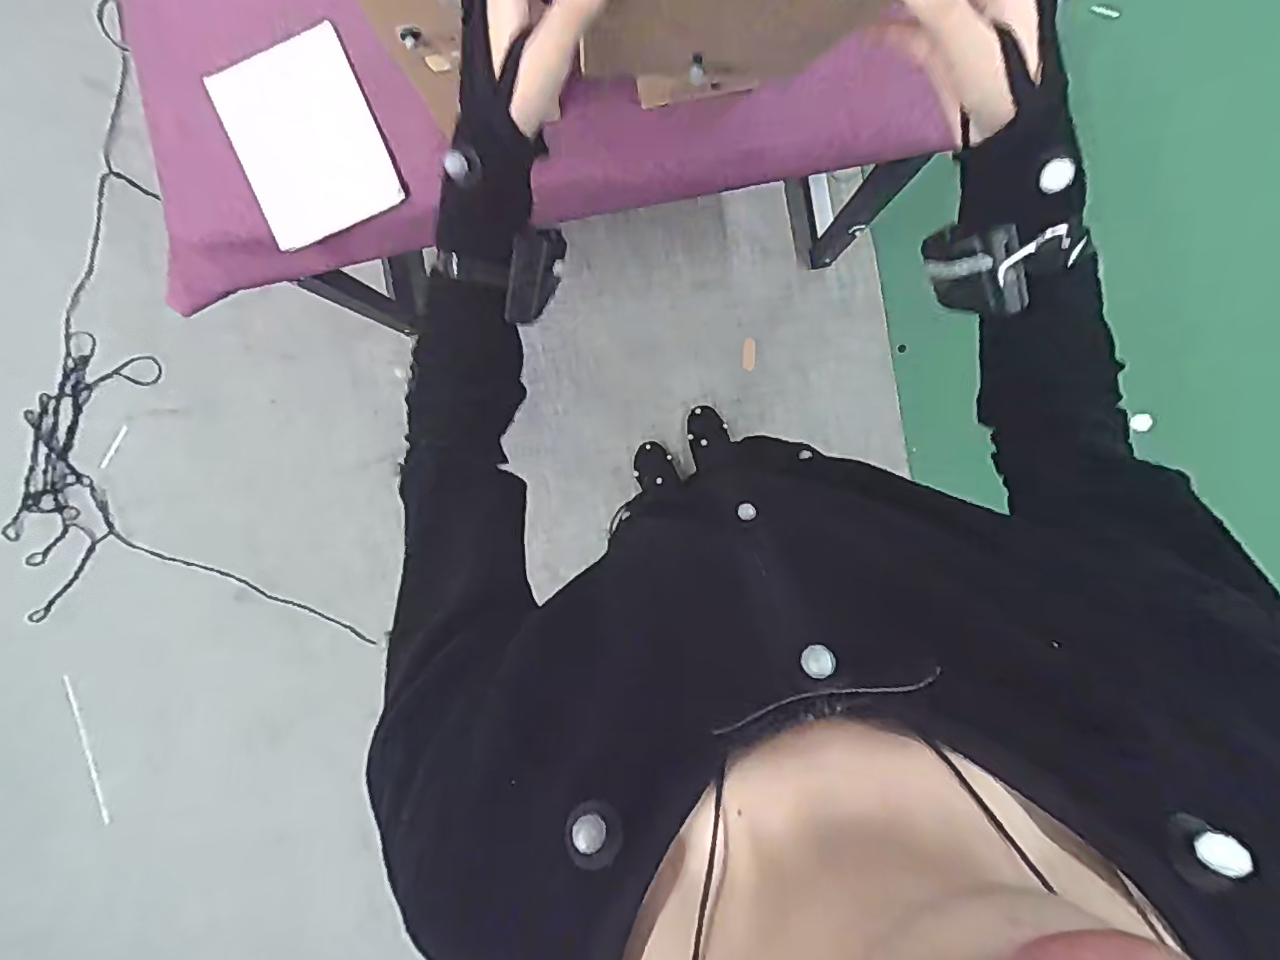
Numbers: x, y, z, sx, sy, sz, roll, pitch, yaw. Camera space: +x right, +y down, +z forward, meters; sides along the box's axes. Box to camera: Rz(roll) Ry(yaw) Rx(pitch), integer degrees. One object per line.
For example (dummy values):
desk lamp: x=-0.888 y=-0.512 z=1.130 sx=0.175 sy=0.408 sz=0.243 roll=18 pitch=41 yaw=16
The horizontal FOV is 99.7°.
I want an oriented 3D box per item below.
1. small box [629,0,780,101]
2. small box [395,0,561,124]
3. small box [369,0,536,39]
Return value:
small box: x=0.070 y=-0.621 z=0.671 sx=0.168 sy=0.176 sz=0.179 roll=-8 pitch=92 yaw=3
small box: x=-0.203 y=-0.585 z=0.683 sx=0.168 sy=0.176 sz=0.179 roll=-9 pitch=94 yaw=2
small box: x=-0.206 y=-0.570 z=0.518 sx=0.168 sy=0.176 sz=0.179 roll=-9 pitch=92 yaw=2
